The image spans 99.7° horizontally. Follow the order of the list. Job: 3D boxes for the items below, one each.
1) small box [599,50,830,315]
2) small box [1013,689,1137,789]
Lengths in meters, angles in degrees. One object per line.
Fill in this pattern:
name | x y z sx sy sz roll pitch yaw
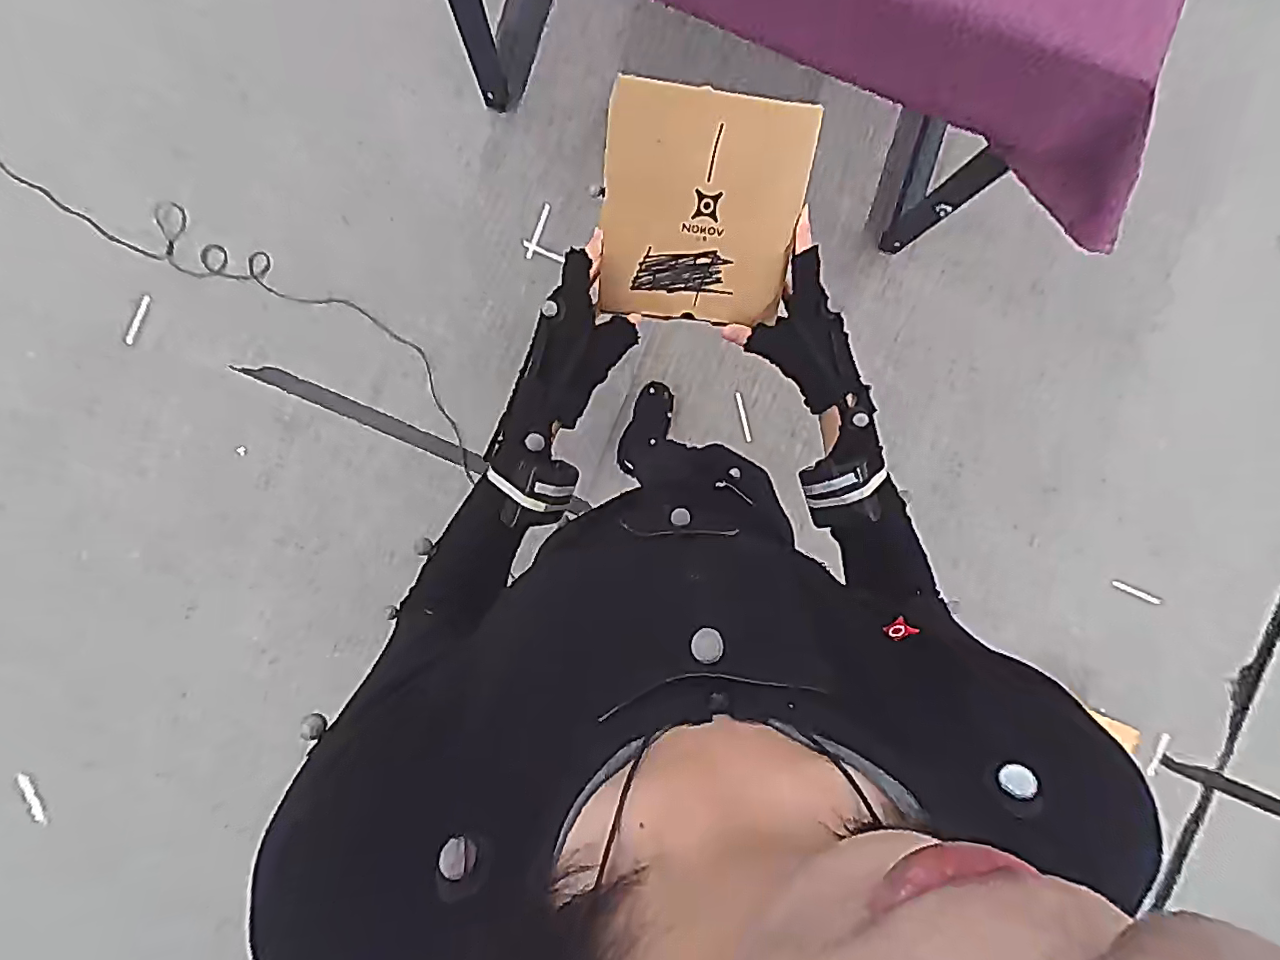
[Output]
small box | 0.051 -0.271 0.515 0.168 0.176 0.179 4 118 -8
small box | 1.198 0.710 1.502 0.179 0.176 0.168 23 90 -2
